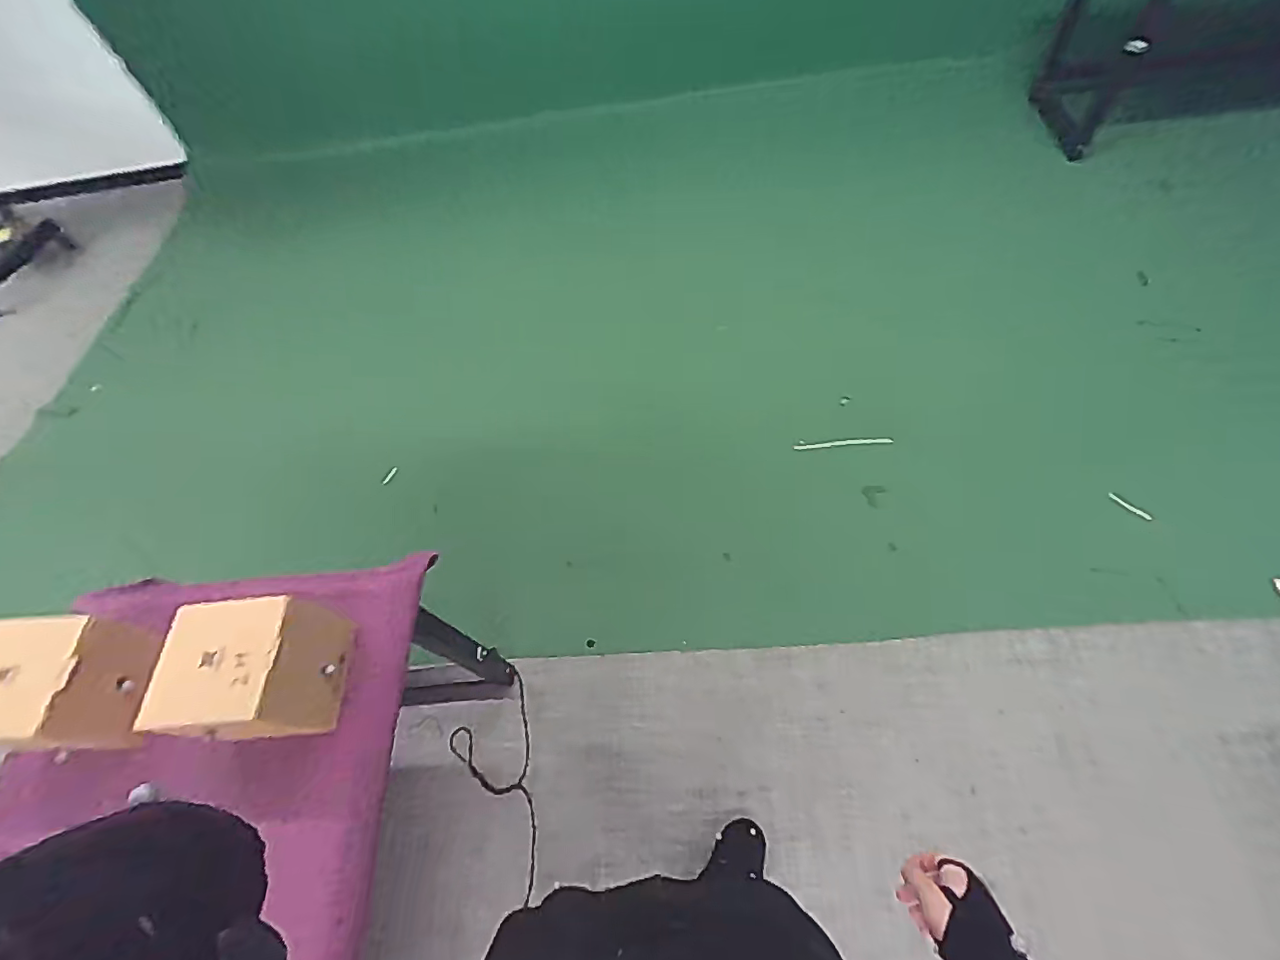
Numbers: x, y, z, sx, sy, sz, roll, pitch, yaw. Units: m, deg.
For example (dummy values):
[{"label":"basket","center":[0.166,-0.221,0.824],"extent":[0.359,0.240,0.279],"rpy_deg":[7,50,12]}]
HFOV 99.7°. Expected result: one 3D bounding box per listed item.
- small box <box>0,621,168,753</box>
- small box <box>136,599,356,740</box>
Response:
[{"label":"small box","center":[-0.880,0.322,0.833],"extent":[0.179,0.176,0.168],"rpy_deg":[-3,59,3]},{"label":"small box","center":[-0.568,0.288,0.807],"extent":[0.179,0.176,0.168],"rpy_deg":[-6,60,5]}]
